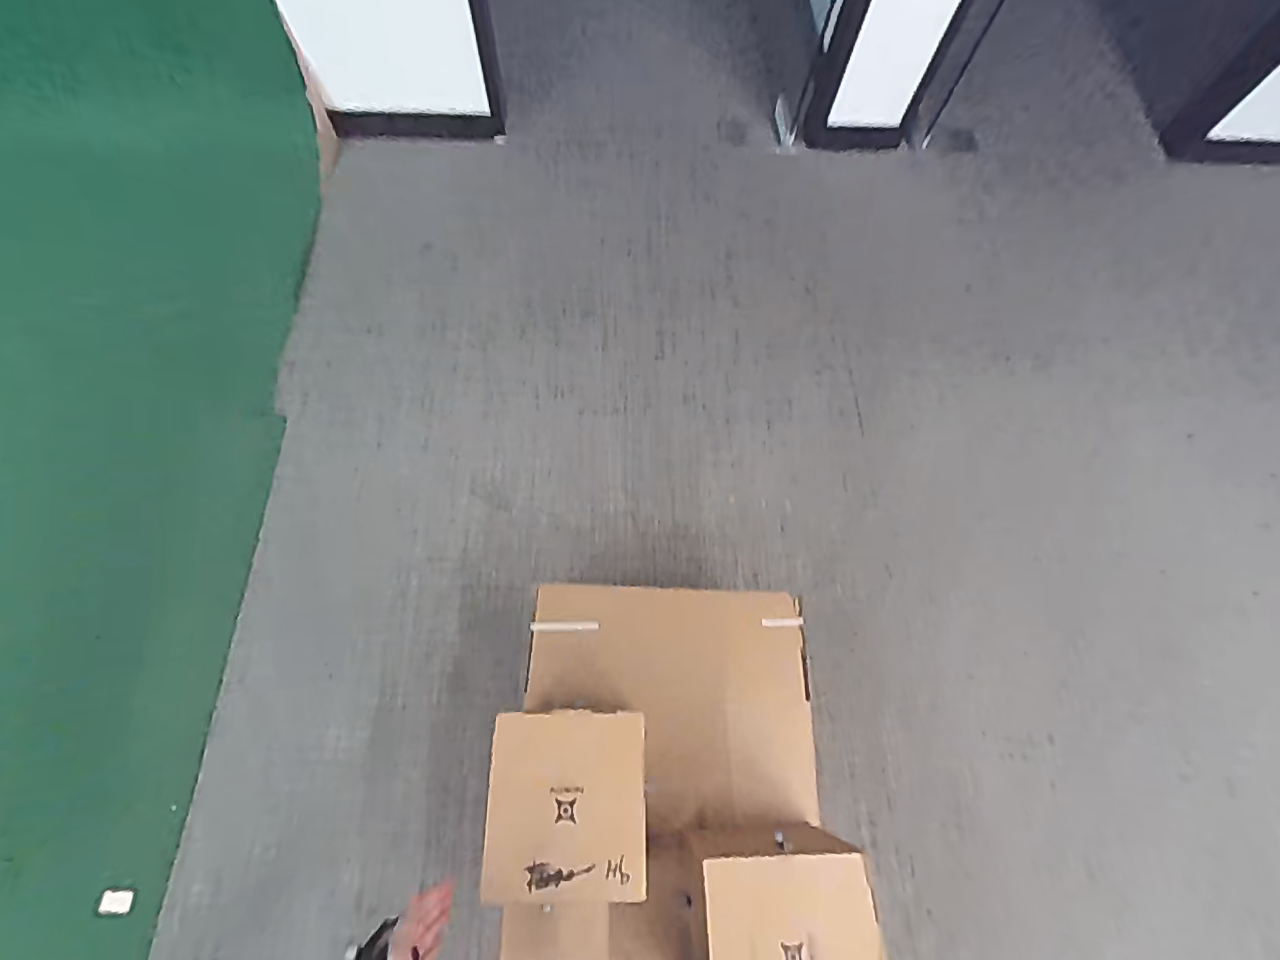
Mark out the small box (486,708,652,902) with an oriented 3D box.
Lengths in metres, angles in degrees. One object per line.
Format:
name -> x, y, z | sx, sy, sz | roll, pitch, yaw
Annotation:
small box -> -0.074, 0.369, 0.638 | 0.168, 0.176, 0.179 | 1, 65, -3

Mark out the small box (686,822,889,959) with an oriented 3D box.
small box -> 0.152, 0.489, 0.598 | 0.179, 0.176, 0.168 | 0, 66, -3
